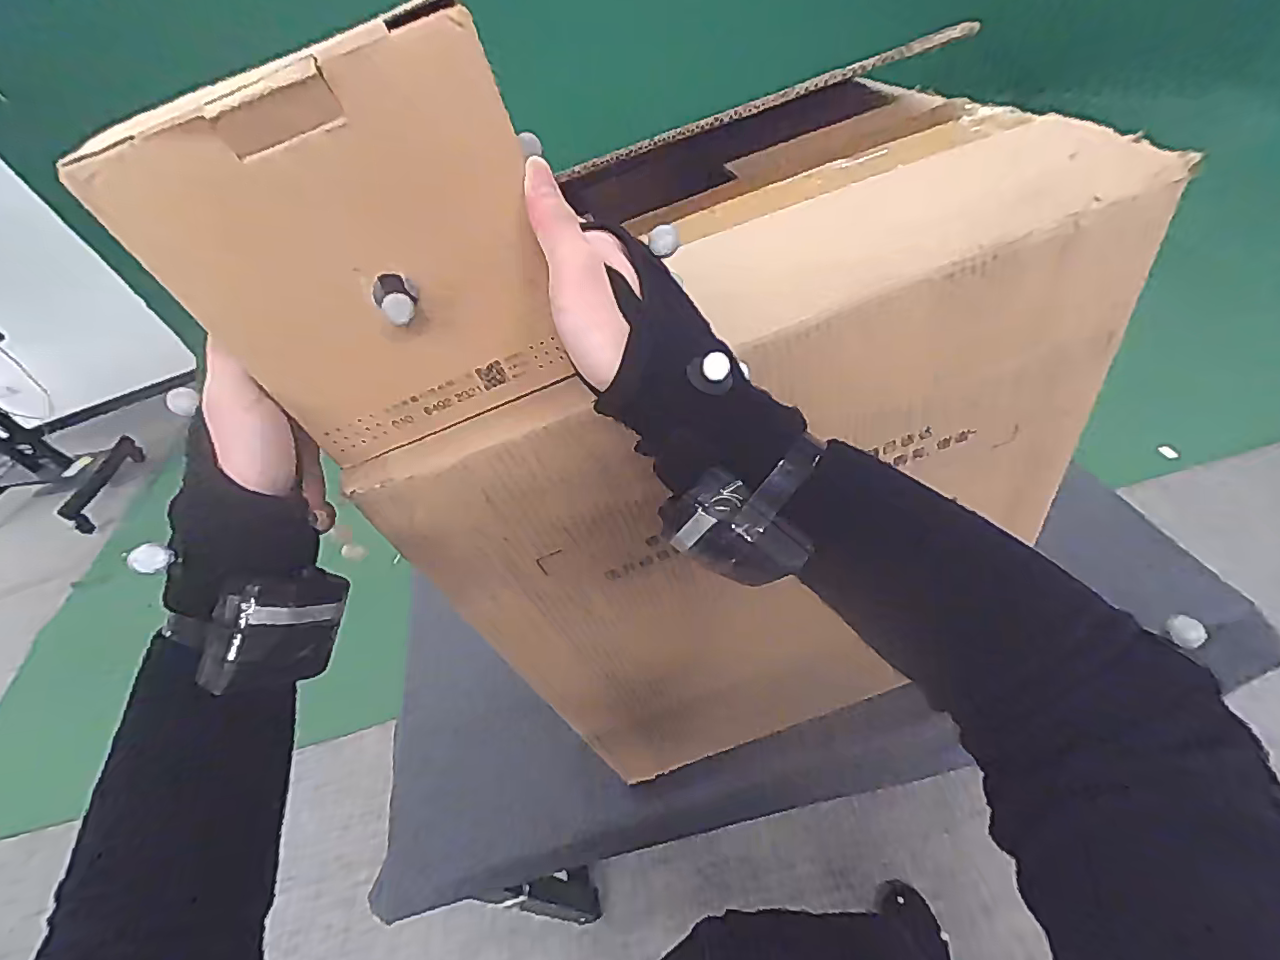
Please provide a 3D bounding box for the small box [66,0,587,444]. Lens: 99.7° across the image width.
[{"bbox_3d":[-0.143,-0.142,0.318,0.168,0.176,0.179,-22,46,-1],"label":"small box"}]
